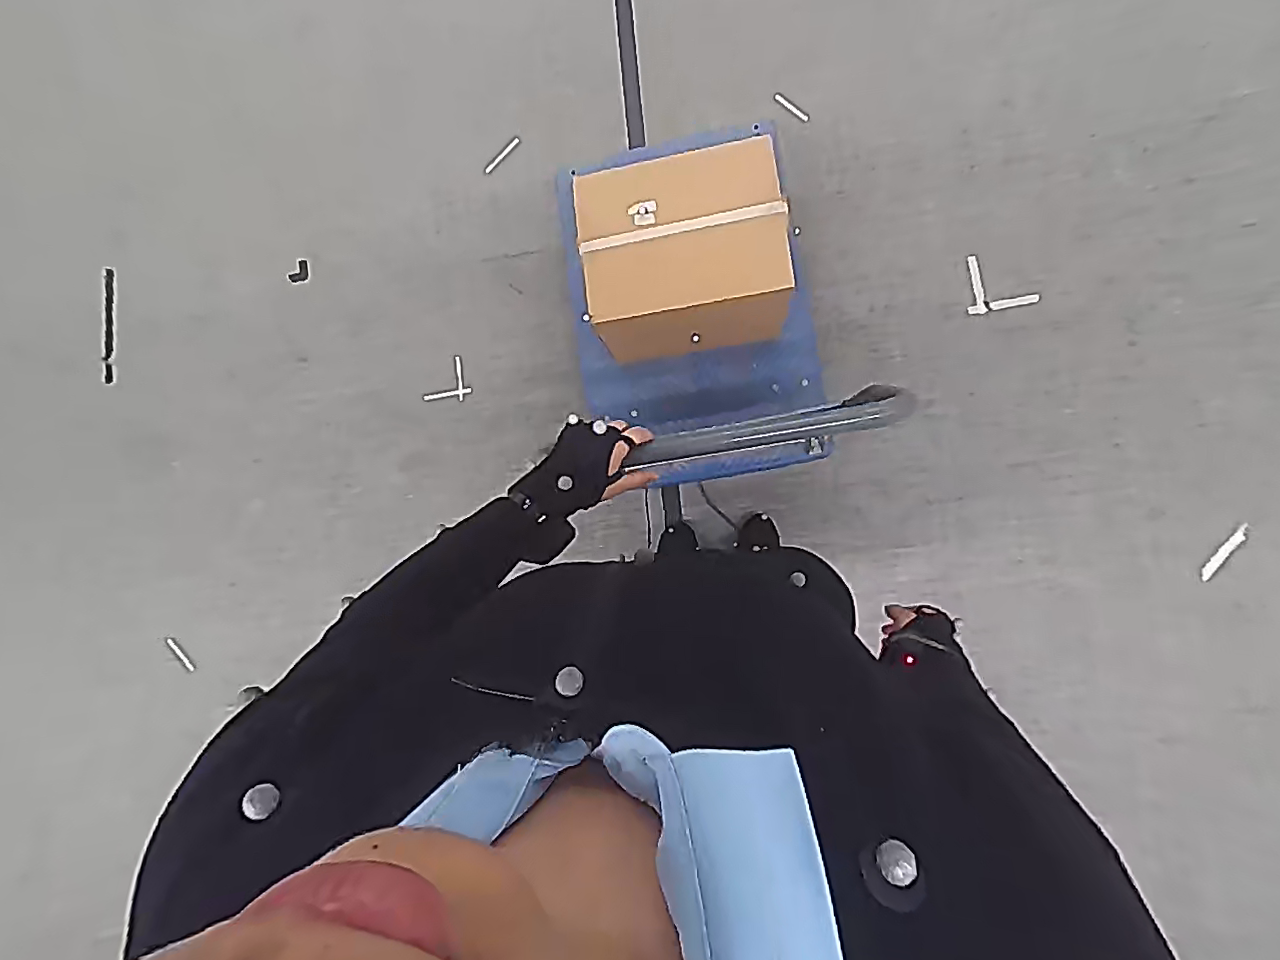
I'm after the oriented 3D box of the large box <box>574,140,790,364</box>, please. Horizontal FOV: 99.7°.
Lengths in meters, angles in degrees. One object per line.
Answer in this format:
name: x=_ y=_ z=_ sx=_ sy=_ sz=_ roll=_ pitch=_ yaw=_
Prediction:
large box: x=0.101 y=-0.480 z=1.224 sx=0.408 sy=0.320 sz=0.320 roll=-8 pitch=84 yaw=9
